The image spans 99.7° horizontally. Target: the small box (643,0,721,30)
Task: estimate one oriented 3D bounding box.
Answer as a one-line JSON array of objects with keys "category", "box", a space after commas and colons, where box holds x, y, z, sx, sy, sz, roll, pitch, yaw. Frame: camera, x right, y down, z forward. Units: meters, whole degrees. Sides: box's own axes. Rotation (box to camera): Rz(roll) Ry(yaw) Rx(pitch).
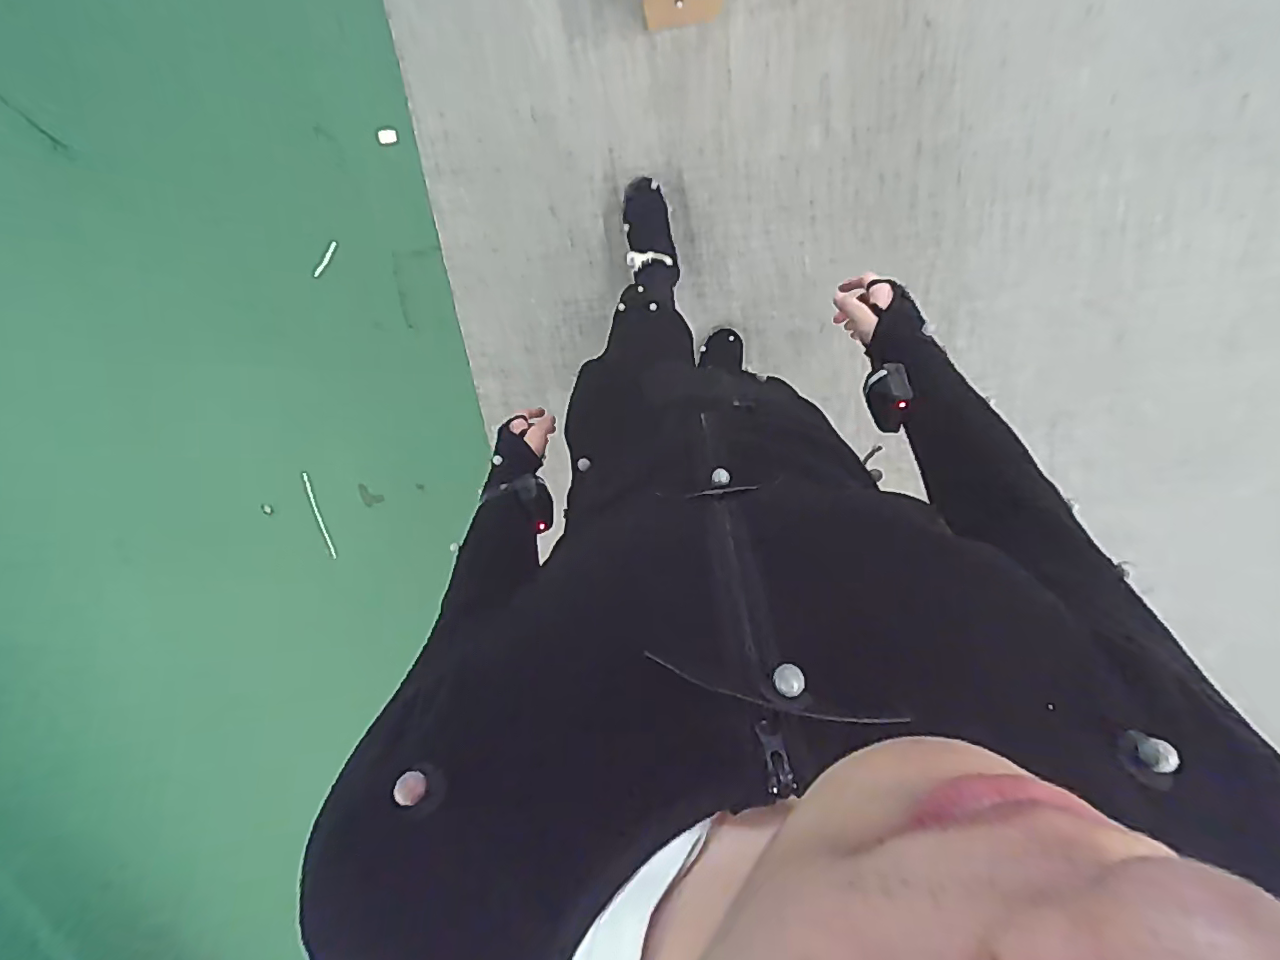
[{"category": "small box", "box": [0.084, -1.106, 1.156, 0.179, 0.176, 0.168, -7, 110, 6]}]
